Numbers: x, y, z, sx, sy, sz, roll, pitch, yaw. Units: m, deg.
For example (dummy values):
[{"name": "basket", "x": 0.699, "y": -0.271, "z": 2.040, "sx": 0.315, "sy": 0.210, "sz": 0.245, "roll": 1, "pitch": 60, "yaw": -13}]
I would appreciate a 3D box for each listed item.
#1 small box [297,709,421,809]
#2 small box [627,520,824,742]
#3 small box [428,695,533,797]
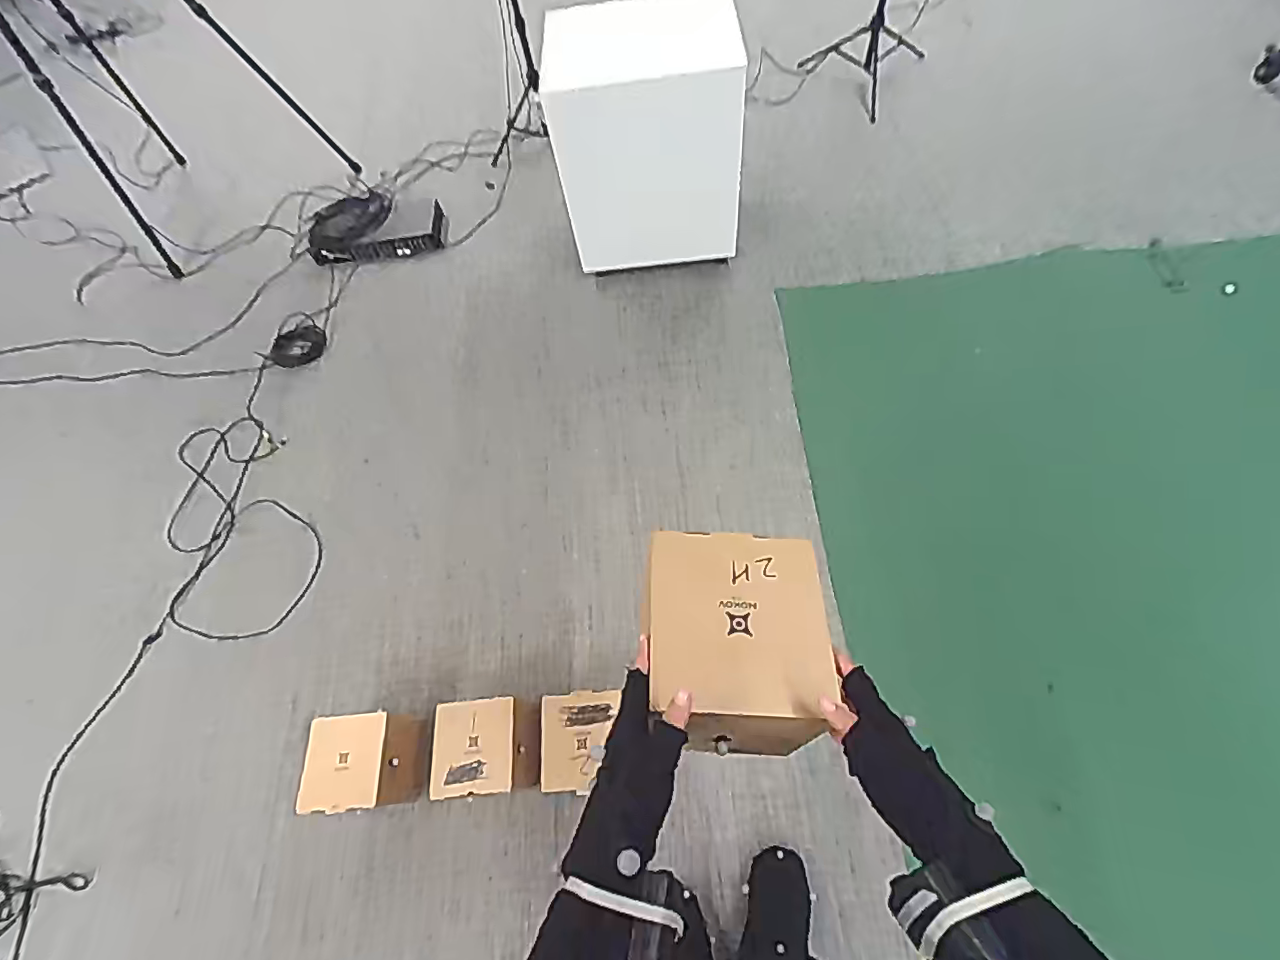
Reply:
[{"name": "small box", "x": -0.594, "y": 0.604, "z": 1.171, "sx": 0.168, "sy": 0.176, "sz": 0.179, "roll": -7, "pitch": 62, "yaw": 4}, {"name": "small box", "x": 0.074, "y": 0.163, "z": 0.565, "sx": 0.168, "sy": 0.176, "sz": 0.179, "roll": 4, "pitch": 53, "yaw": -2}, {"name": "small box", "x": -0.331, "y": 0.568, "z": 1.156, "sx": 0.168, "sy": 0.176, "sz": 0.179, "roll": -7, "pitch": 61, "yaw": 4}]
